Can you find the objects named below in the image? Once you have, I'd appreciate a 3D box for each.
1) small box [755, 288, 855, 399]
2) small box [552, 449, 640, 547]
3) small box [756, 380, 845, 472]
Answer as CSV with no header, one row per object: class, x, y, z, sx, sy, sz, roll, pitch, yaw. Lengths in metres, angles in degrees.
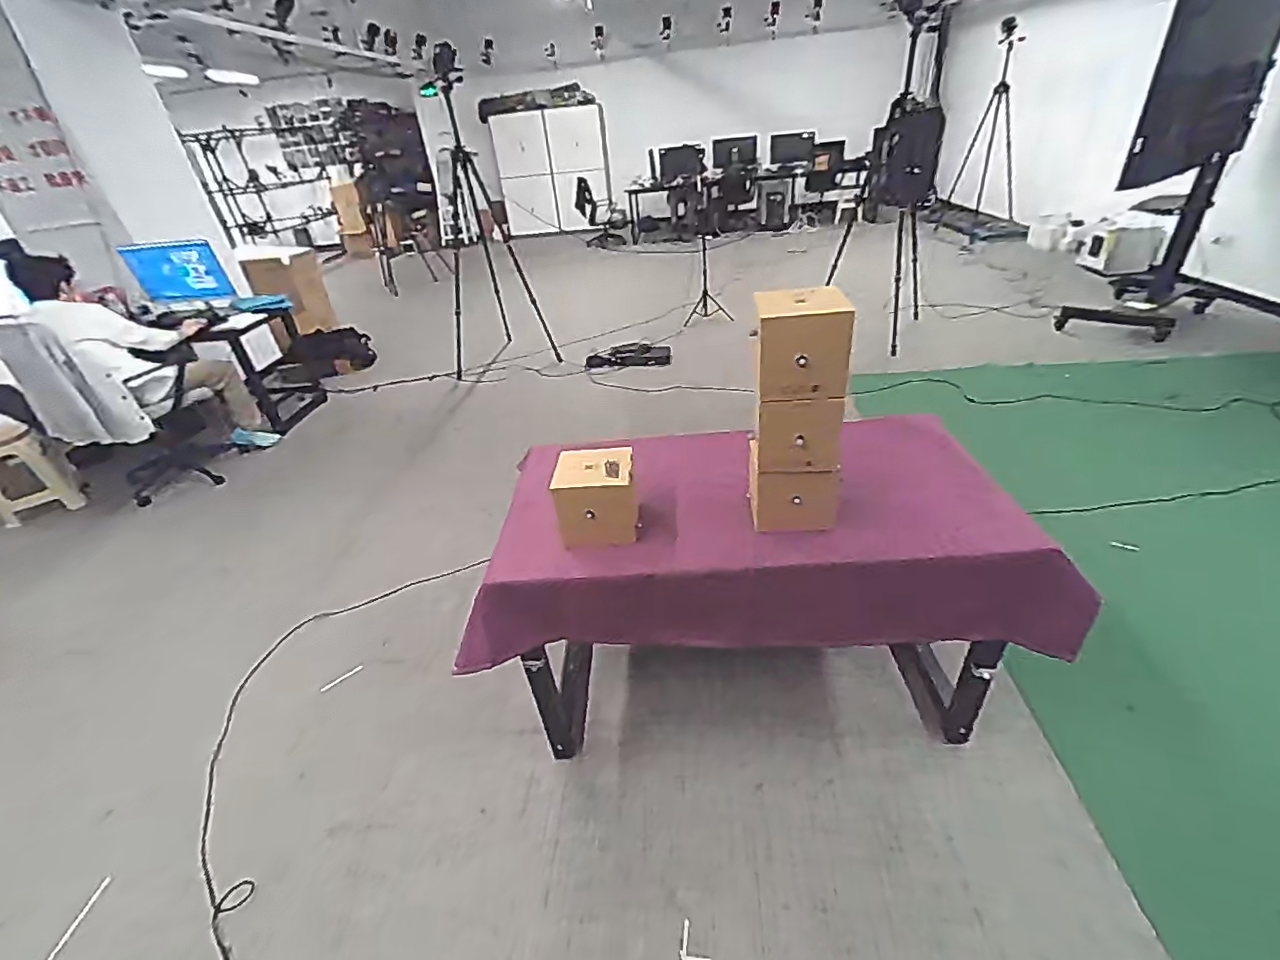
small box,0.316,-0.265,1.067,0.168,0.176,0.179,-2,33,8
small box,-0.094,0.043,1.274,0.179,0.176,0.168,-4,33,5
small box,0.335,-0.128,1.158,0.168,0.176,0.179,-1,34,9
